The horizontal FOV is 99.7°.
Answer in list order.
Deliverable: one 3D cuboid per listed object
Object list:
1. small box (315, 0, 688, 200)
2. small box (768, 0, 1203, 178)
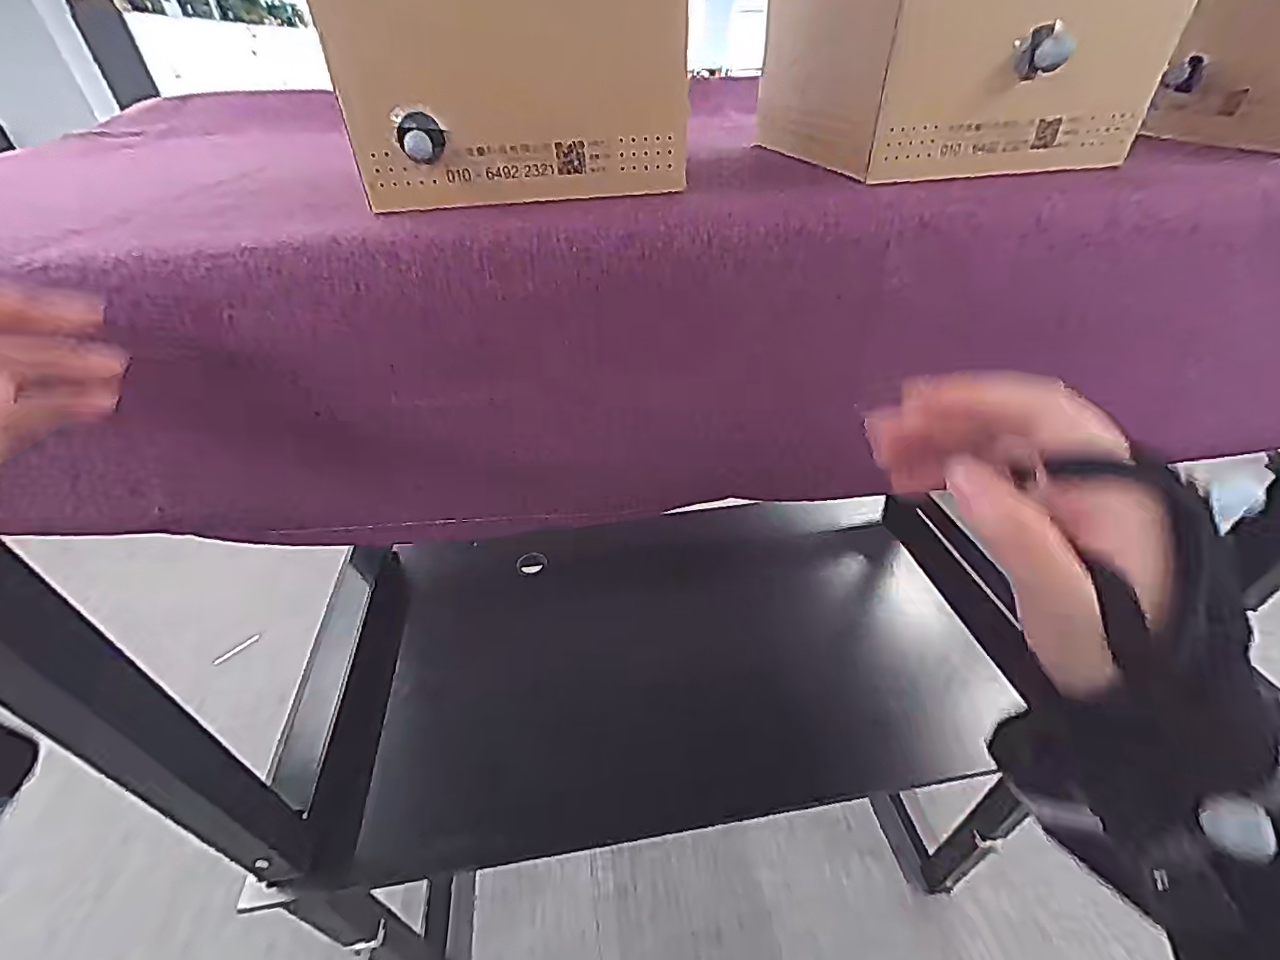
[{"bbox_3d":[-0.070,-0.258,0.295,0.168,0.176,0.179,-8,38,-8],"label":"small box"},{"bbox_3d":[0.187,-0.286,0.321,0.168,0.176,0.179,-8,38,-7],"label":"small box"}]
